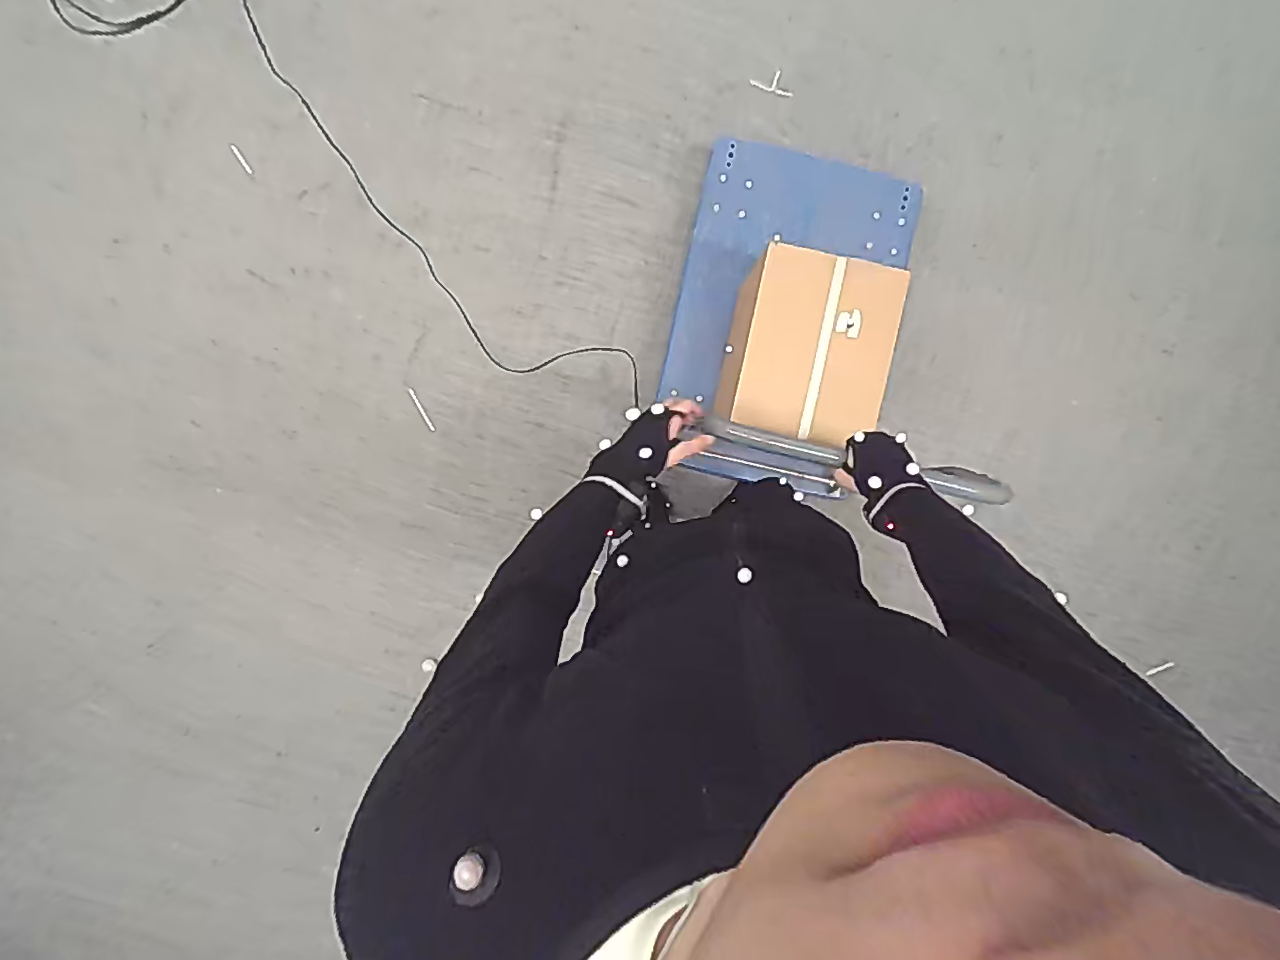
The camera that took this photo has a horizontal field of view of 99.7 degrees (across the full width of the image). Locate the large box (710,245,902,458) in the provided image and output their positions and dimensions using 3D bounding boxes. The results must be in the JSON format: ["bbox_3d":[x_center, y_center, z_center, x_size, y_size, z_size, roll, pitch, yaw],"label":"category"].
[{"bbox_3d":[0.372,-0.278,1.301,0.320,0.320,0.408,12,91,-2],"label":"large box"}]
